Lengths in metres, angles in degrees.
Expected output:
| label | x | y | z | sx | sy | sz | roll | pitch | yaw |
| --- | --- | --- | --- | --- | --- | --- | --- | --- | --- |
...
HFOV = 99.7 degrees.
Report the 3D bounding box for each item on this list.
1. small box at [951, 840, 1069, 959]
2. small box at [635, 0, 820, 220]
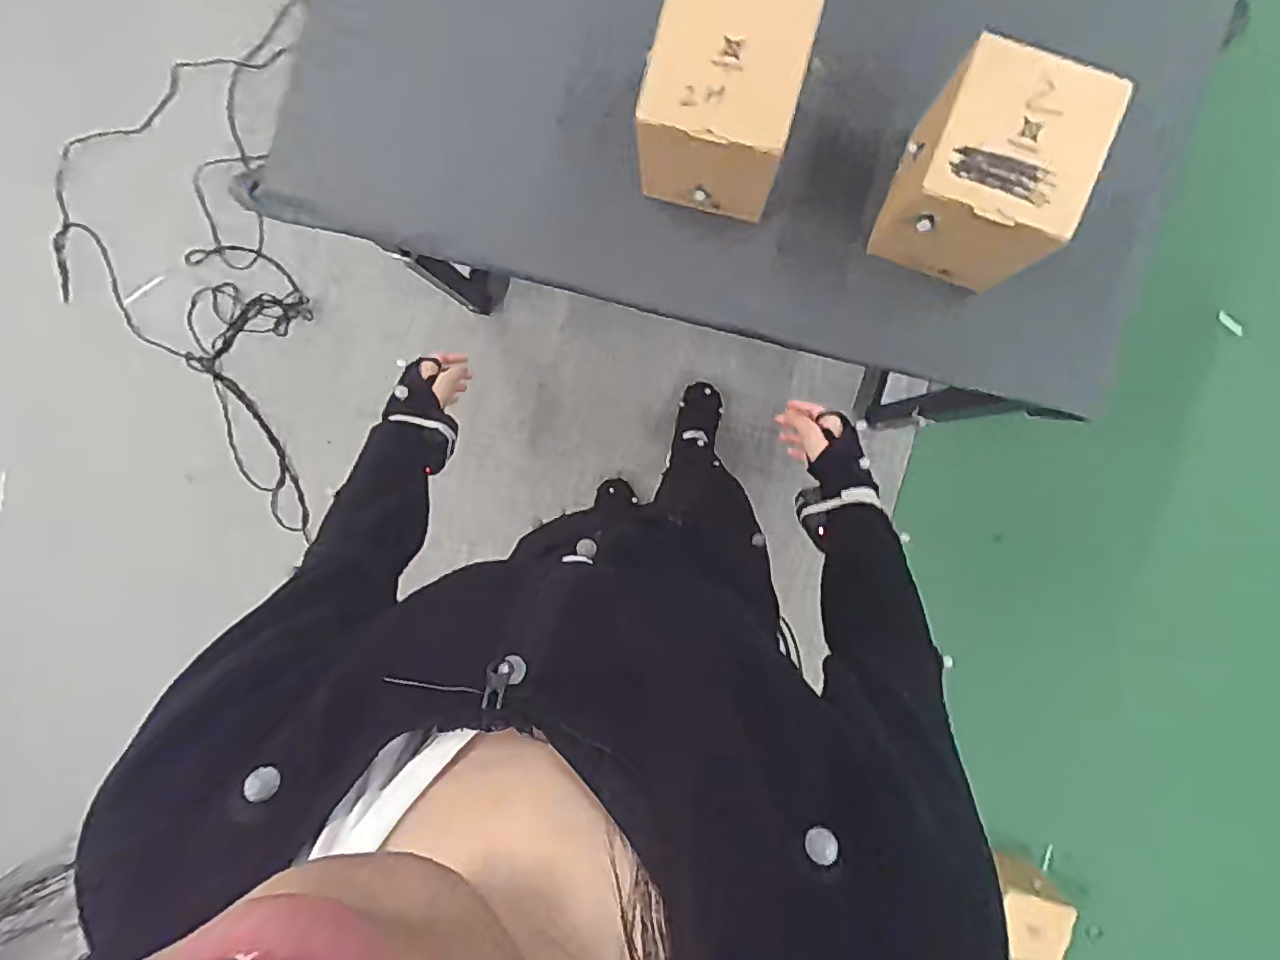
| label | x | y | z | sx | sy | sz | roll | pitch | yaw |
| --- | --- | --- | --- | --- | --- | --- | --- | --- | --- |
| small box | 0.959 | 1.092 | 1.419 | 0.179 | 0.176 | 0.168 | 15 | 93 | 1 |
| small box | 0.097 | -0.456 | 0.662 | 0.168 | 0.176 | 0.179 | 15 | 92 | 3 |
